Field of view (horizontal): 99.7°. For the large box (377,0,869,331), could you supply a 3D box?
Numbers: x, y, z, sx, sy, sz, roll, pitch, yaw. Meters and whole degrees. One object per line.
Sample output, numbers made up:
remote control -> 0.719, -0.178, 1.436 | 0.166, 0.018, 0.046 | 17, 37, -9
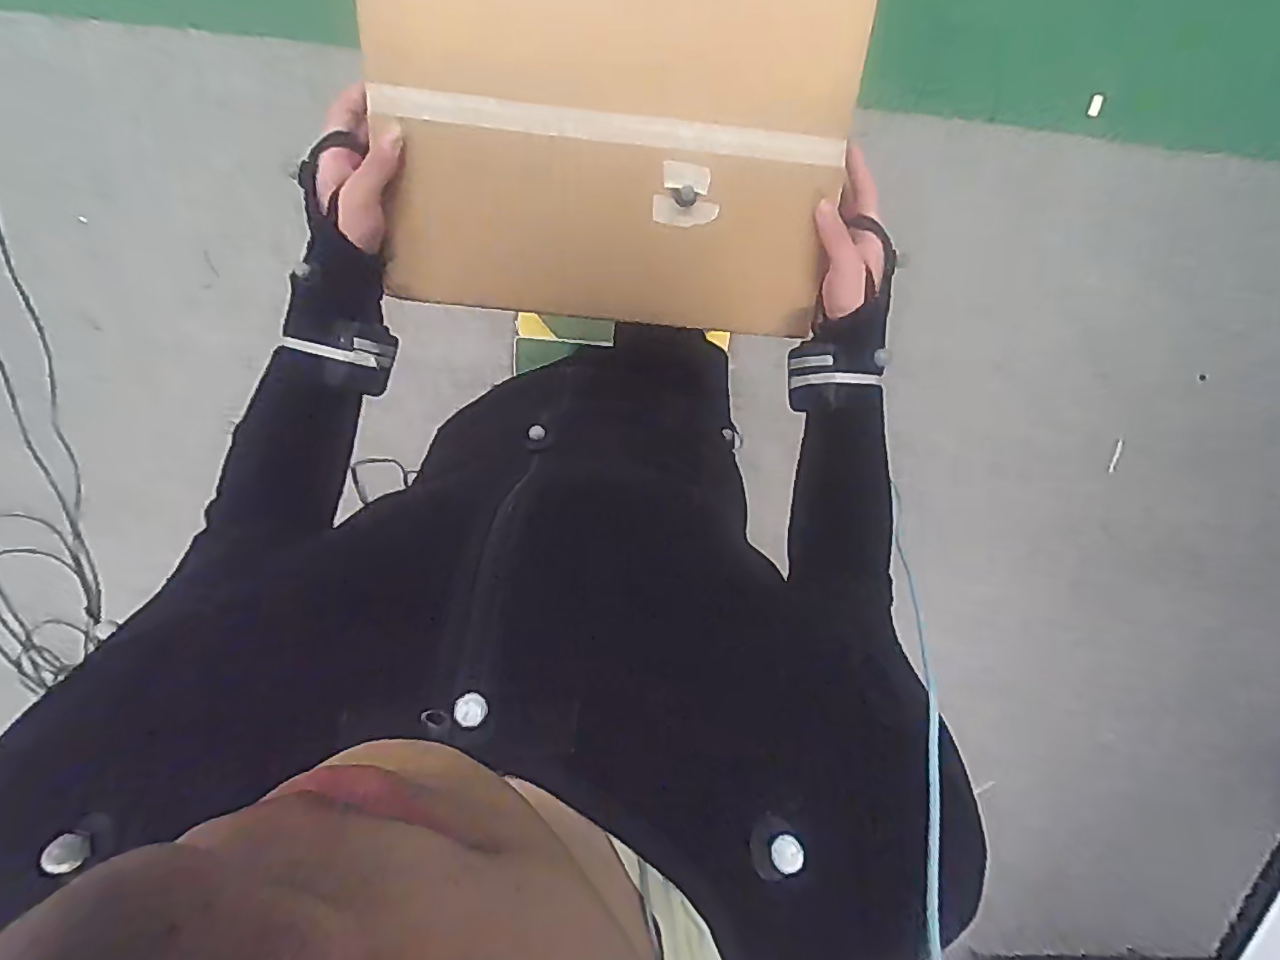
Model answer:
large box -> -0.027, -0.356, 0.610 | 0.408, 0.320, 0.320 | 4, 112, -4
